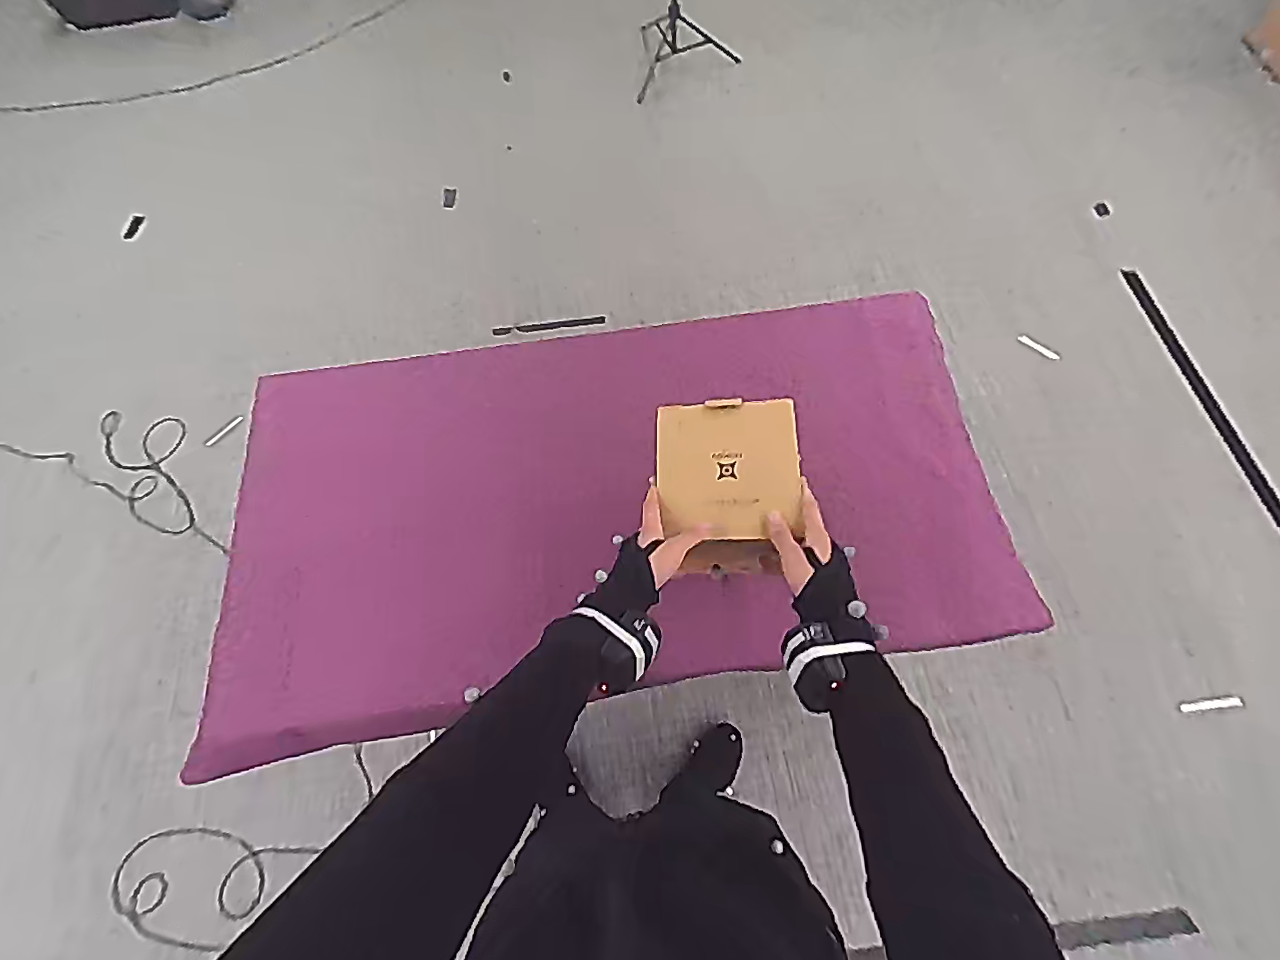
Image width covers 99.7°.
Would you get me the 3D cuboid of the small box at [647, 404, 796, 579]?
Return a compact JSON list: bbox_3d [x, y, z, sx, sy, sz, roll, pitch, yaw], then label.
[{"bbox_3d":[0.102,0.021,0.695,0.168,0.176,0.179,-1,67,8],"label":"small box"}]
